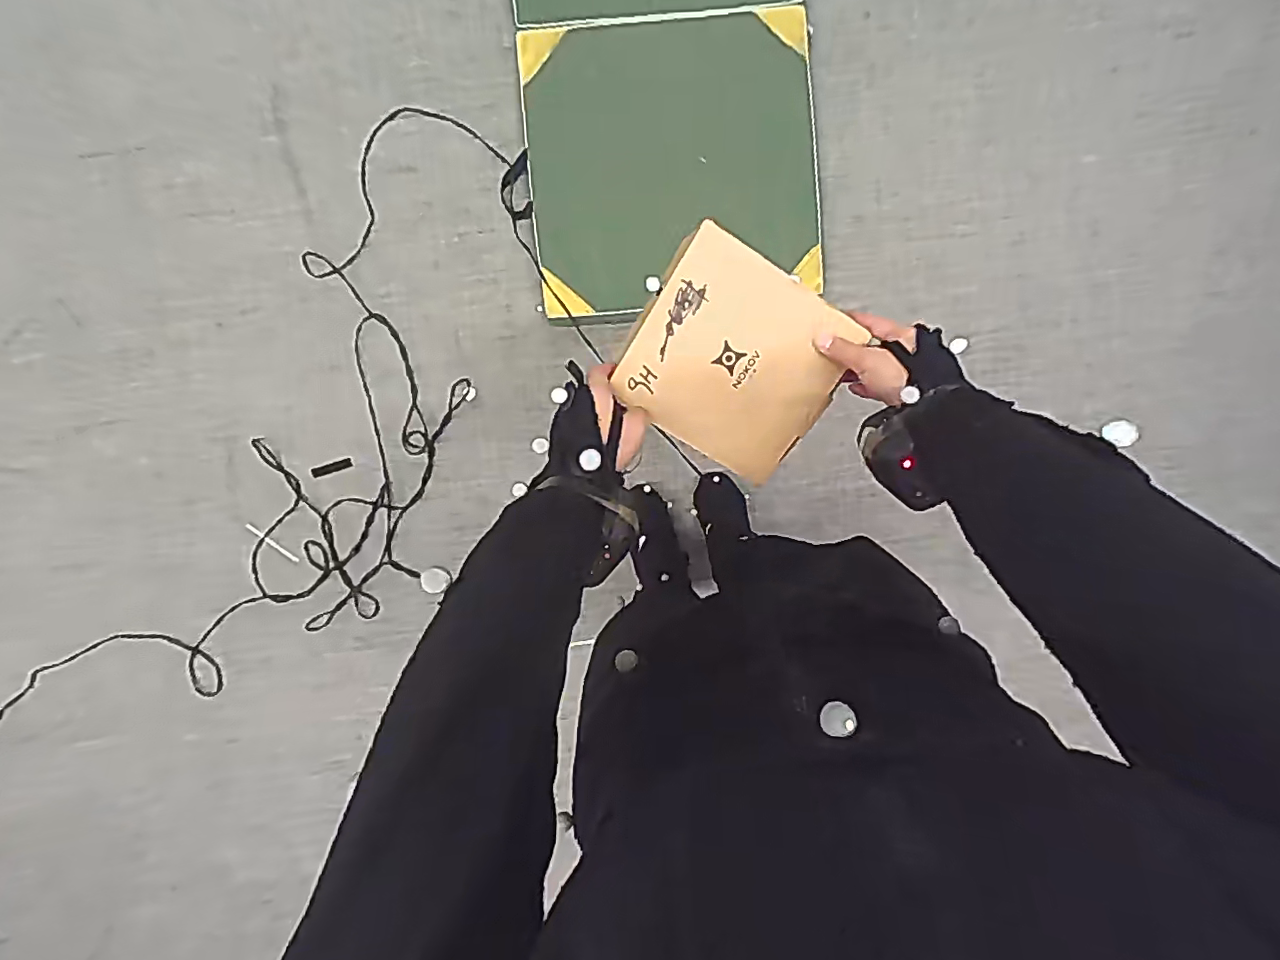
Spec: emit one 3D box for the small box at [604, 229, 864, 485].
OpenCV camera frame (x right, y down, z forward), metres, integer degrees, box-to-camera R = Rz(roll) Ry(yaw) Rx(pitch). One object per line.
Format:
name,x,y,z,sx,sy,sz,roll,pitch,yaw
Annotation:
small box,0.081,-0.127,0.552,0.179,0.176,0.168,30,106,-10
